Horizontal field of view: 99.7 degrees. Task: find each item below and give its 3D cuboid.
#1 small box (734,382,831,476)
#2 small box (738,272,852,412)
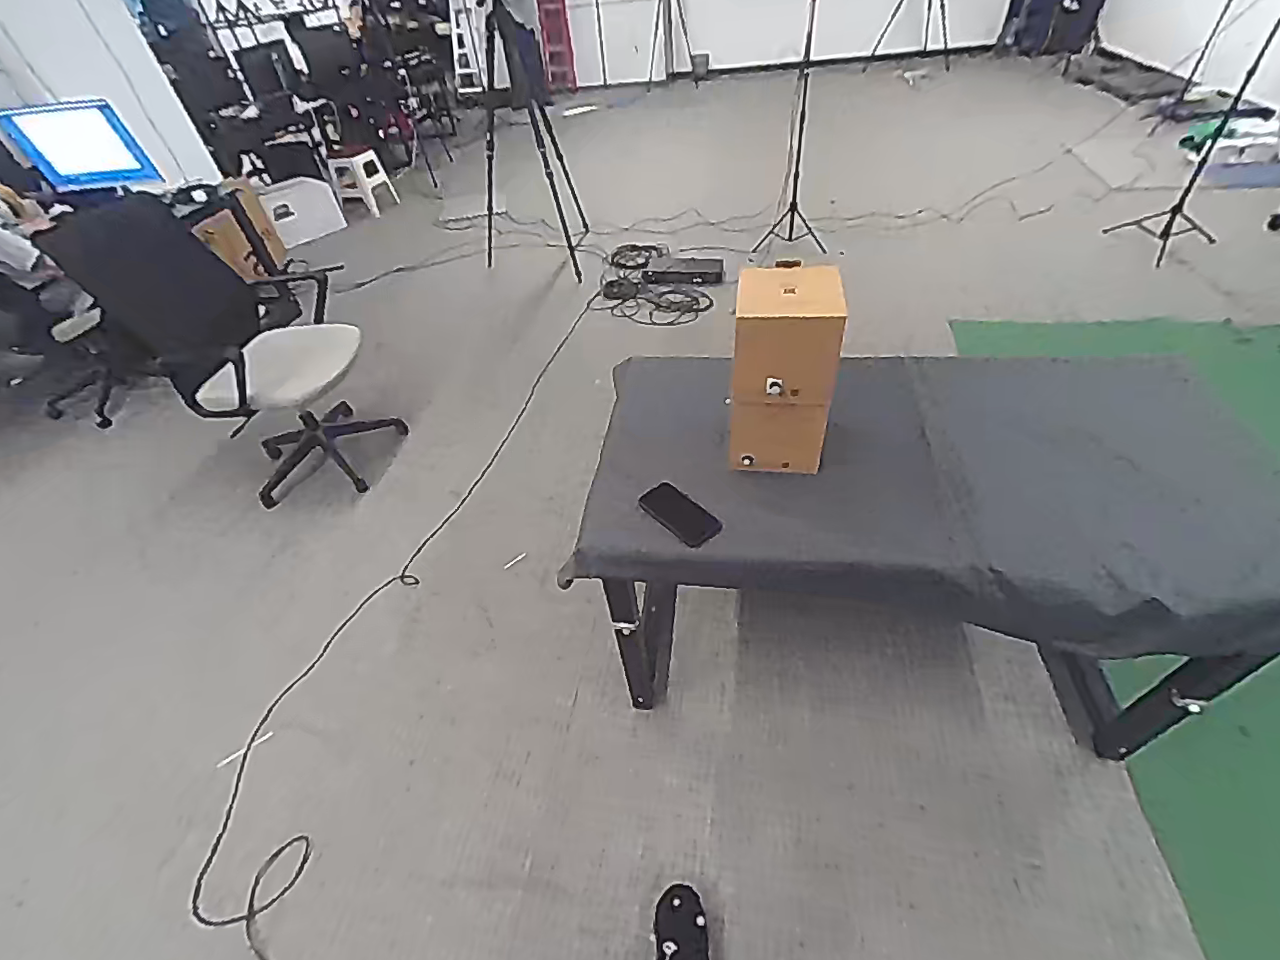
[{"bbox_3d":[0.270,-0.125,1.039,0.168,0.176,0.179,4,44,11],"label":"small box"},{"bbox_3d":[0.255,-0.237,0.923,0.168,0.176,0.179,3,46,11],"label":"small box"}]
